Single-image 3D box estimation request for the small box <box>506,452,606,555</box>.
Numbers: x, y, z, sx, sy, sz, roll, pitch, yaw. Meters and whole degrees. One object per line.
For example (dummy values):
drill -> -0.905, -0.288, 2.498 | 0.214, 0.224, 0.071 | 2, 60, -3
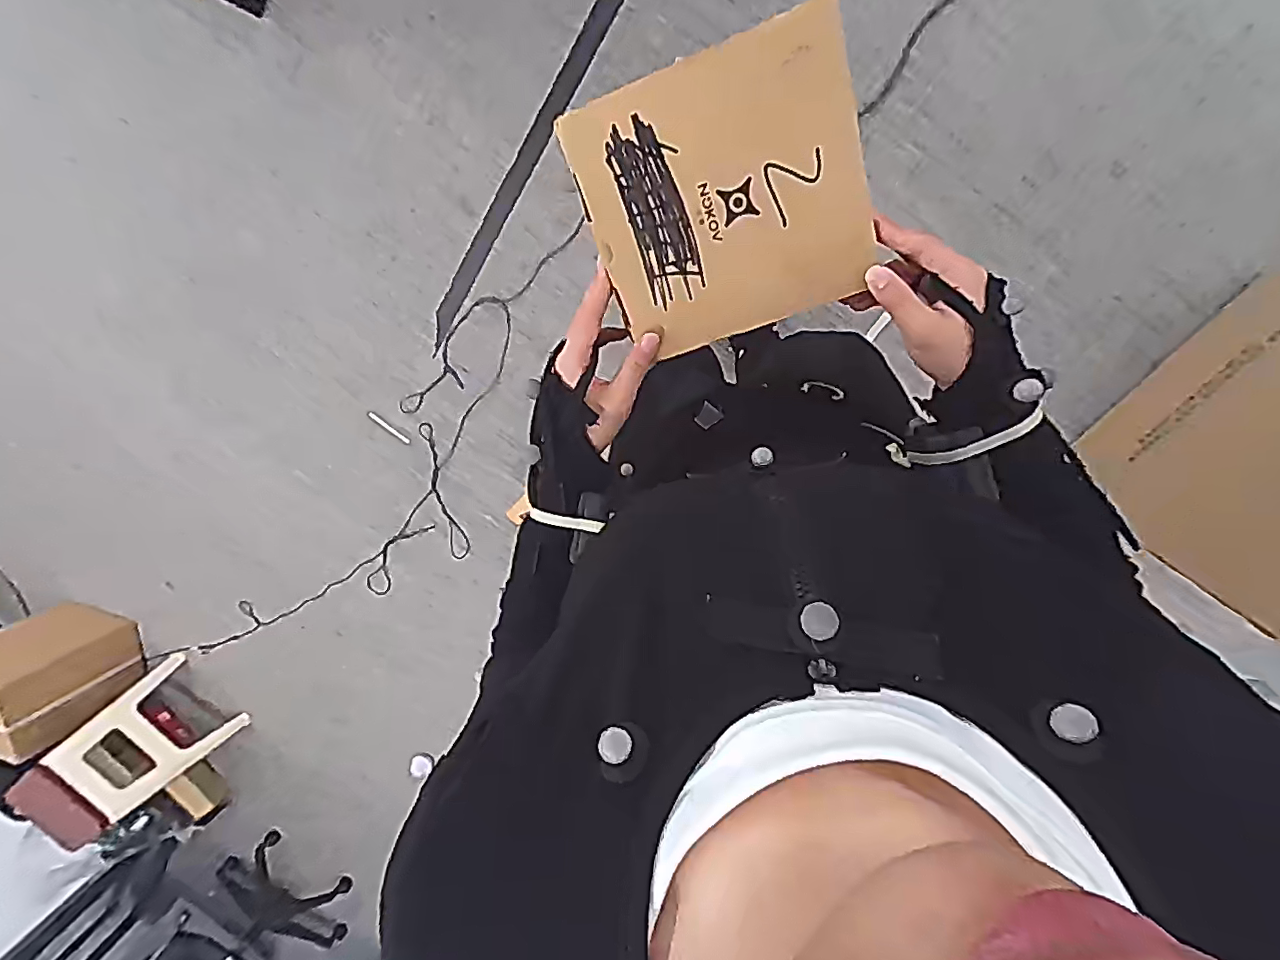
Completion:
small box -> -0.210, 0.055, 1.407 | 0.168, 0.176, 0.179 | 42, 111, -7
